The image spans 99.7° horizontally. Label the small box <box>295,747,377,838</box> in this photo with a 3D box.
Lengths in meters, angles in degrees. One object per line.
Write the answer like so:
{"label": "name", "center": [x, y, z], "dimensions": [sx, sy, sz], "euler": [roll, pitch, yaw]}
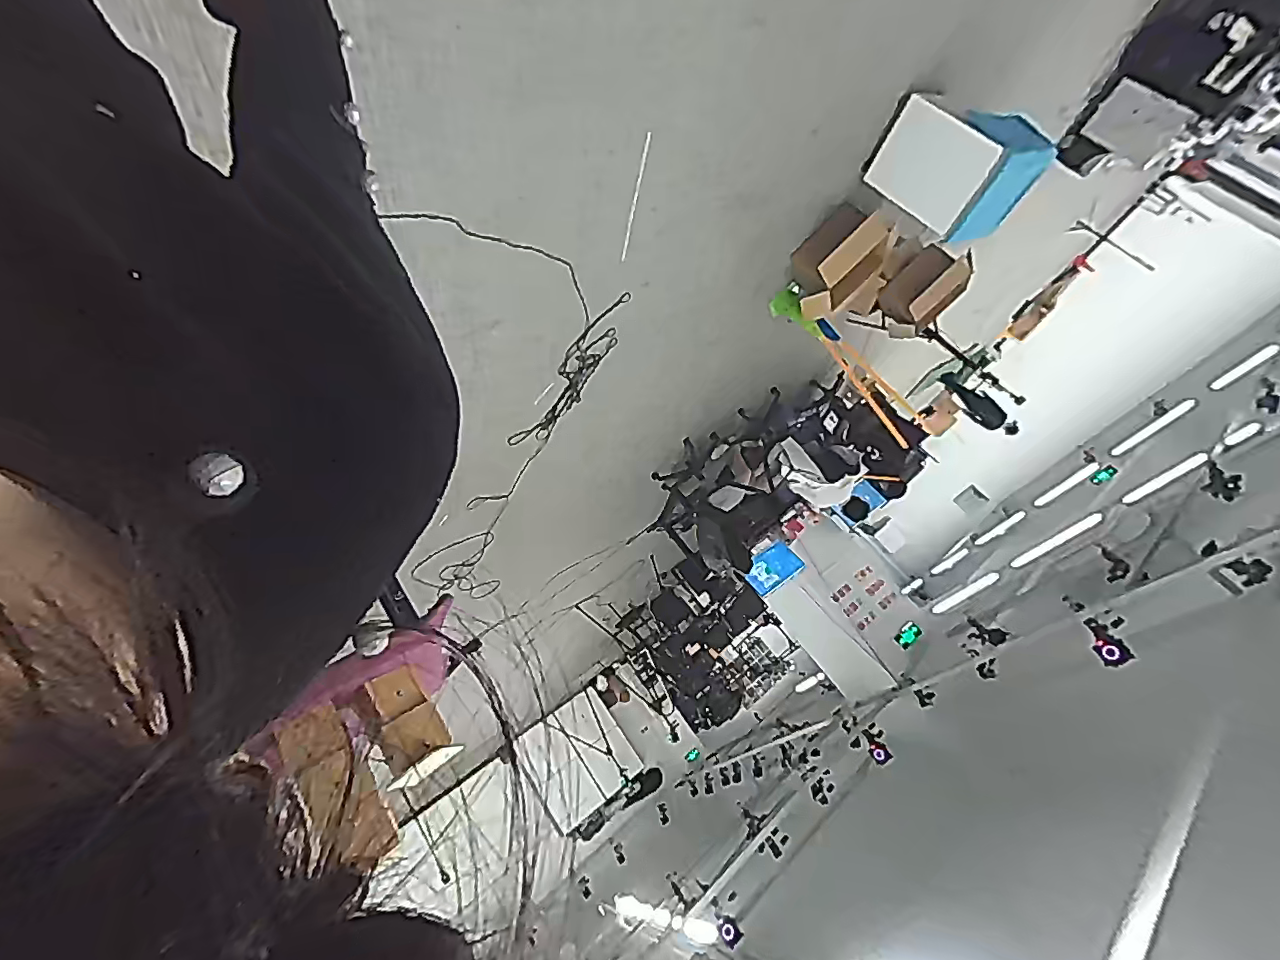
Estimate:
{"label": "small box", "center": [-0.927, 0.959, 1.655], "dimensions": [0.179, 0.176, 0.168], "euler": [-26, 157, -32]}

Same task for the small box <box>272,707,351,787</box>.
{"label": "small box", "center": [-1.034, 0.850, 1.716], "dimensions": [0.168, 0.176, 0.179], "euler": [-26, 156, -32]}

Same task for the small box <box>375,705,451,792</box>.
{"label": "small box", "center": [-0.765, 0.895, 1.810], "dimensions": [0.179, 0.176, 0.168], "euler": [-20, 152, -43]}

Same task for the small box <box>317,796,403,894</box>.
{"label": "small box", "center": [-0.829, 1.078, 1.598], "dimensions": [0.179, 0.176, 0.168], "euler": [-25, 156, -32]}
